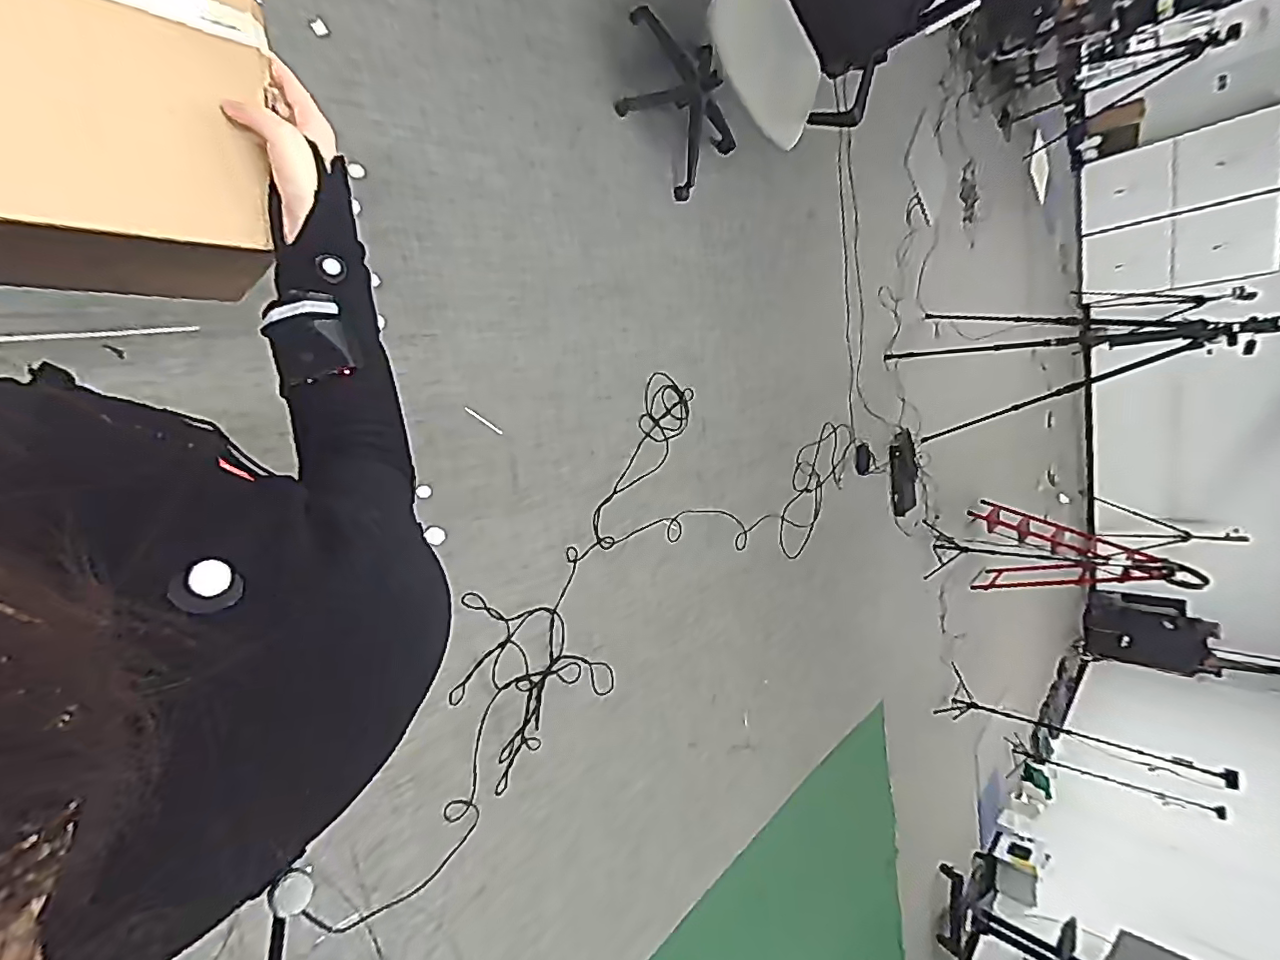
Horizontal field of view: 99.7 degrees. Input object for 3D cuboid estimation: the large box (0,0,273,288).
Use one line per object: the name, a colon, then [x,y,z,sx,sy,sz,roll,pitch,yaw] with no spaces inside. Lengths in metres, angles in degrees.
large box: [-0.555,-0.334,0.407,0.408,0.320,0.320,-10,103,-40]
